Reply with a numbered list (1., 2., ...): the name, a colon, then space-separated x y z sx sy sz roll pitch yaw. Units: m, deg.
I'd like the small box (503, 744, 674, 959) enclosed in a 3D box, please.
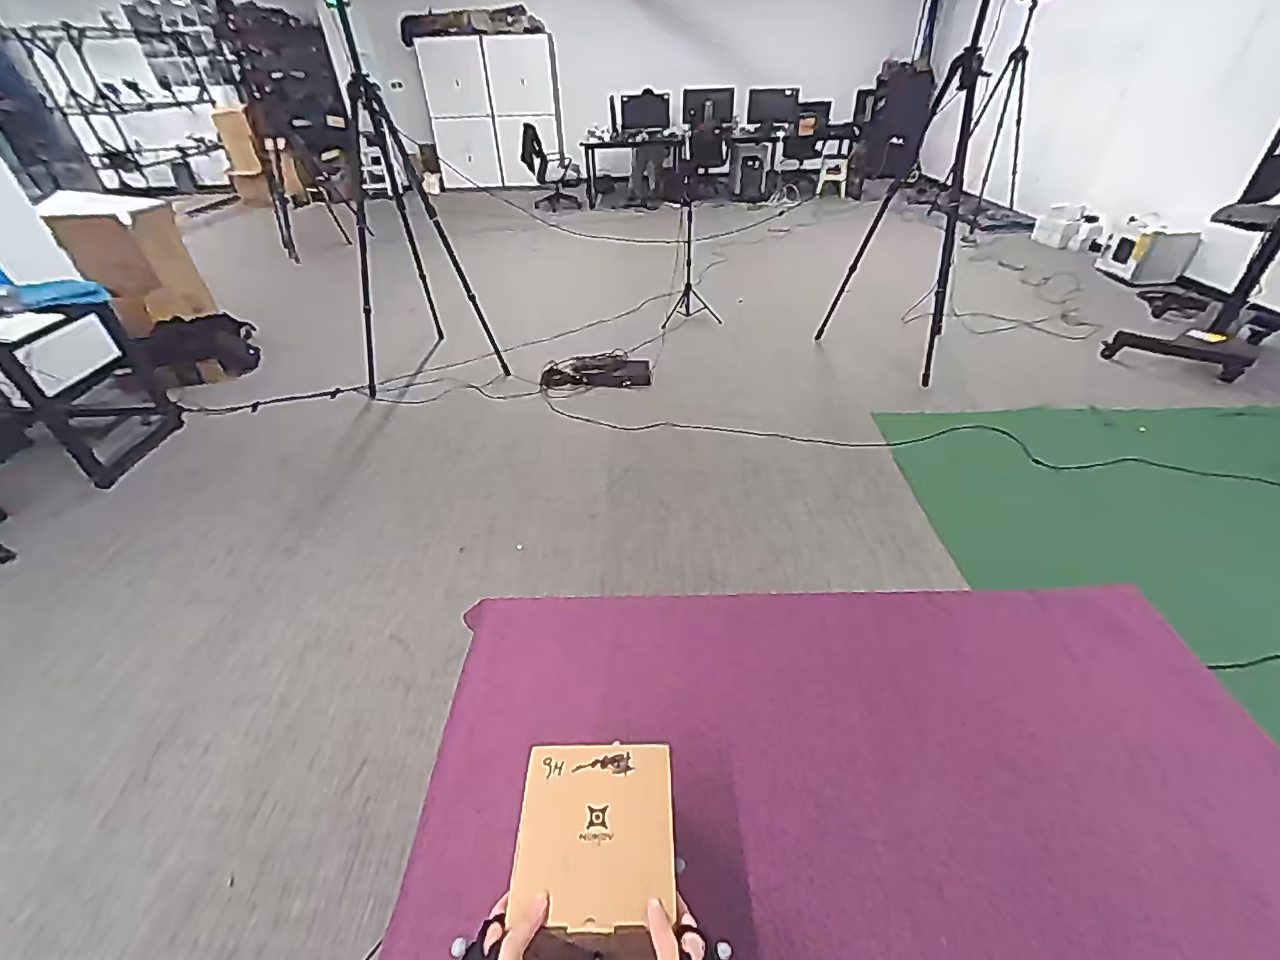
1. small box: -0.045 0.431 0.624 0.168 0.176 0.179 -1 38 1
